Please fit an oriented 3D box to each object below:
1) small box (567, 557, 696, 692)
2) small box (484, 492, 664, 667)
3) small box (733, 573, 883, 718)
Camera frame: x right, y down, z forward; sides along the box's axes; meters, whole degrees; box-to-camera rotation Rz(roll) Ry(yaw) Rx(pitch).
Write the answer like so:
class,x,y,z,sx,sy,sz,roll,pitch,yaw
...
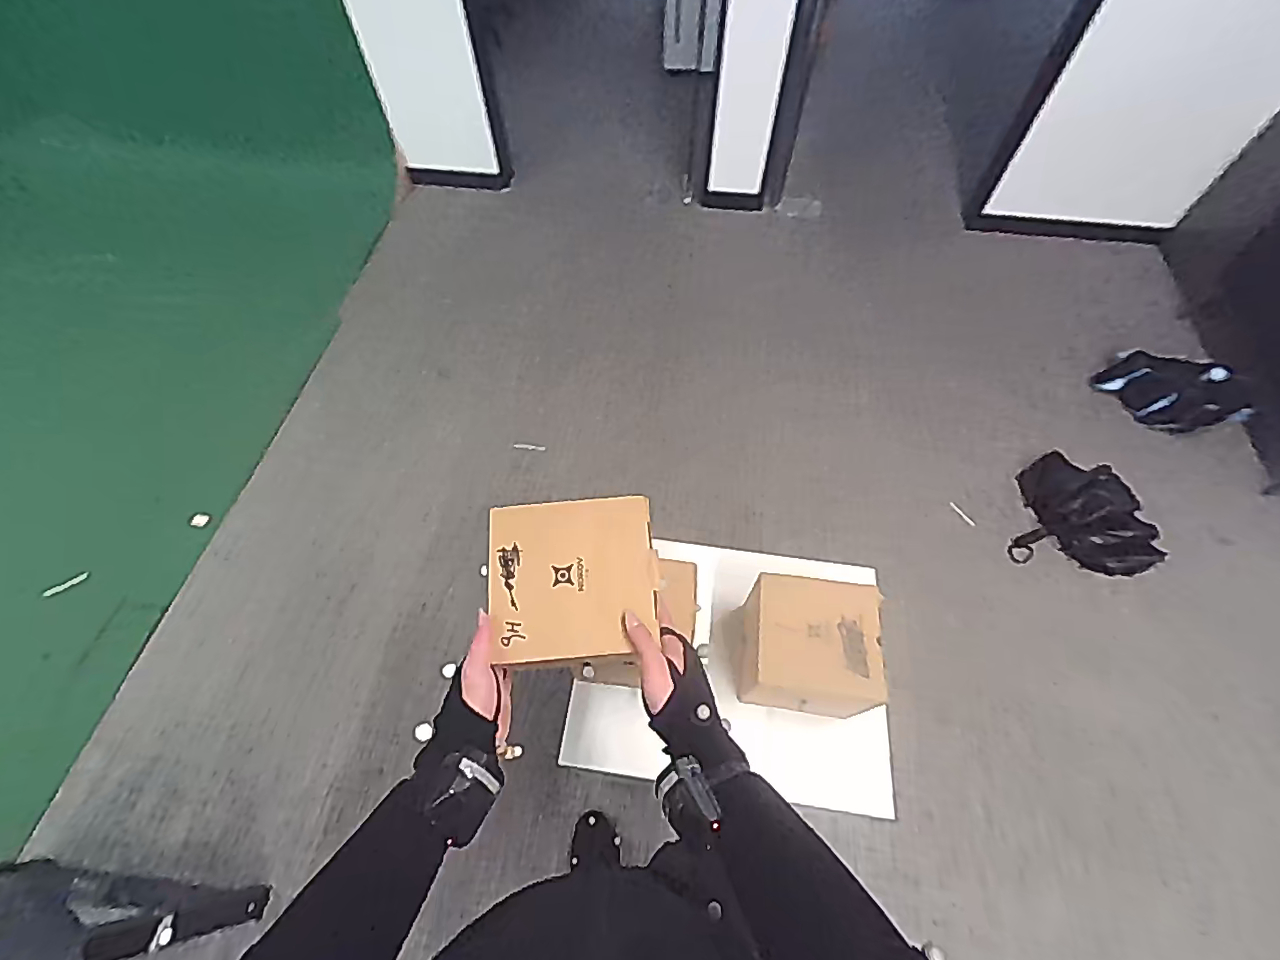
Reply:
class,x,y,z,sx,sy,sz,roll,pitch,yaw
small box,-0.014,0.224,0.844,0.179,0.176,0.168,7,57,1
small box,-0.072,0.122,0.626,0.179,0.176,0.168,-3,68,-4
small box,0.249,0.261,0.832,0.179,0.176,0.168,8,59,4
